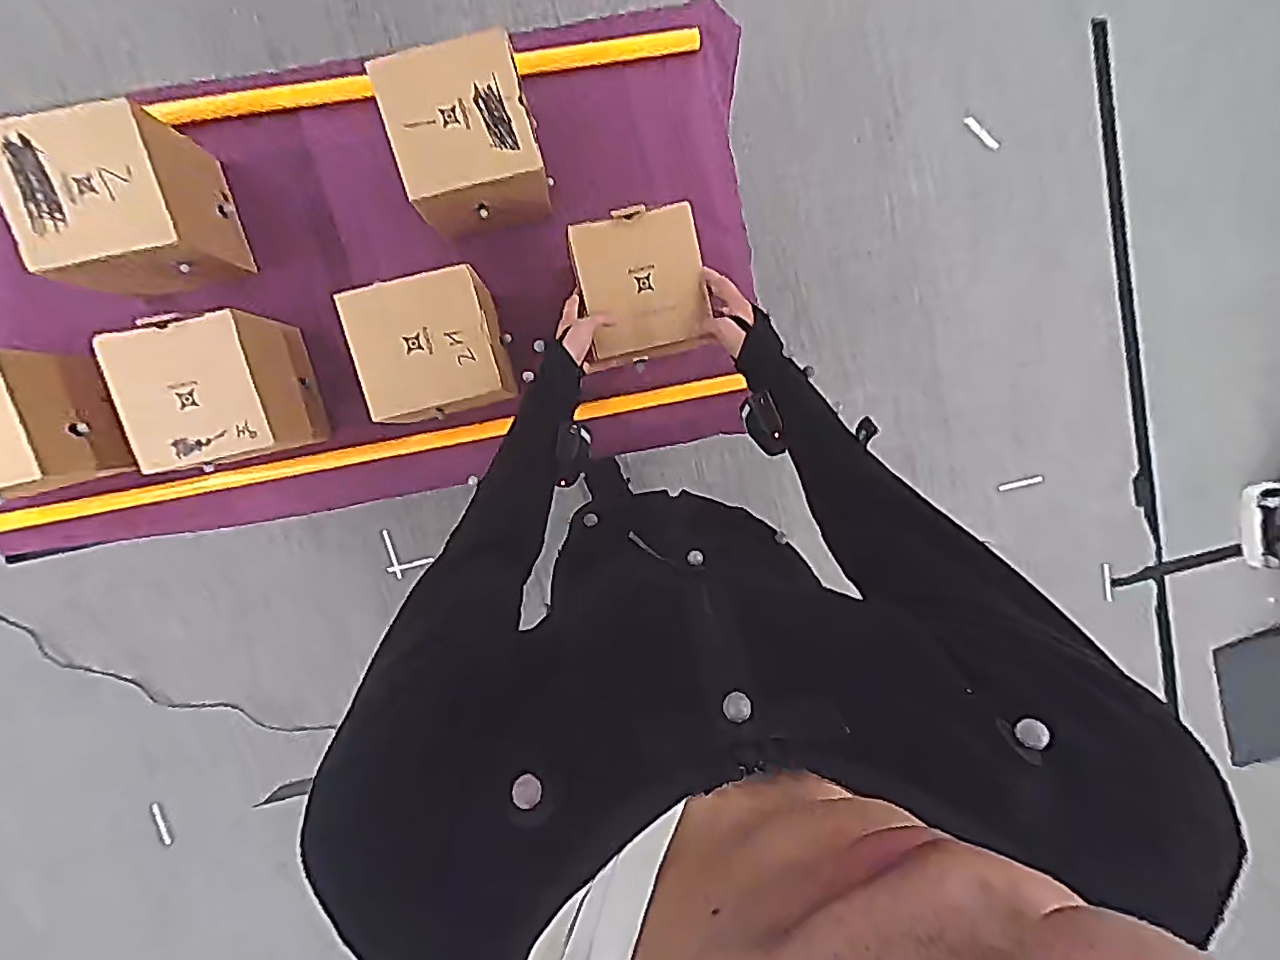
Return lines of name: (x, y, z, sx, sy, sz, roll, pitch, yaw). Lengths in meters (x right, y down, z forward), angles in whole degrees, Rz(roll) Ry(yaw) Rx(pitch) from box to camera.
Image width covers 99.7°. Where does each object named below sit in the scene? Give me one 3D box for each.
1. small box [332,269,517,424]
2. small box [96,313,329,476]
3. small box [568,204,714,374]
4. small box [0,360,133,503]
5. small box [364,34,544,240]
small box: (-0.289, -0.177, 0.766, 0.179, 0.176, 0.168, -14, 97, -3)
small box: (-0.569, -0.113, 0.747, 0.168, 0.176, 0.179, -13, 98, -4)
small box: (-0.004, -0.264, 0.783, 0.168, 0.176, 0.179, -13, 96, -2)
small box: (-0.843, -0.061, 0.725, 0.179, 0.176, 0.168, -14, 98, -4)
small box: (-0.235, -0.452, 0.739, 0.179, 0.176, 0.168, -16, 99, -3)
